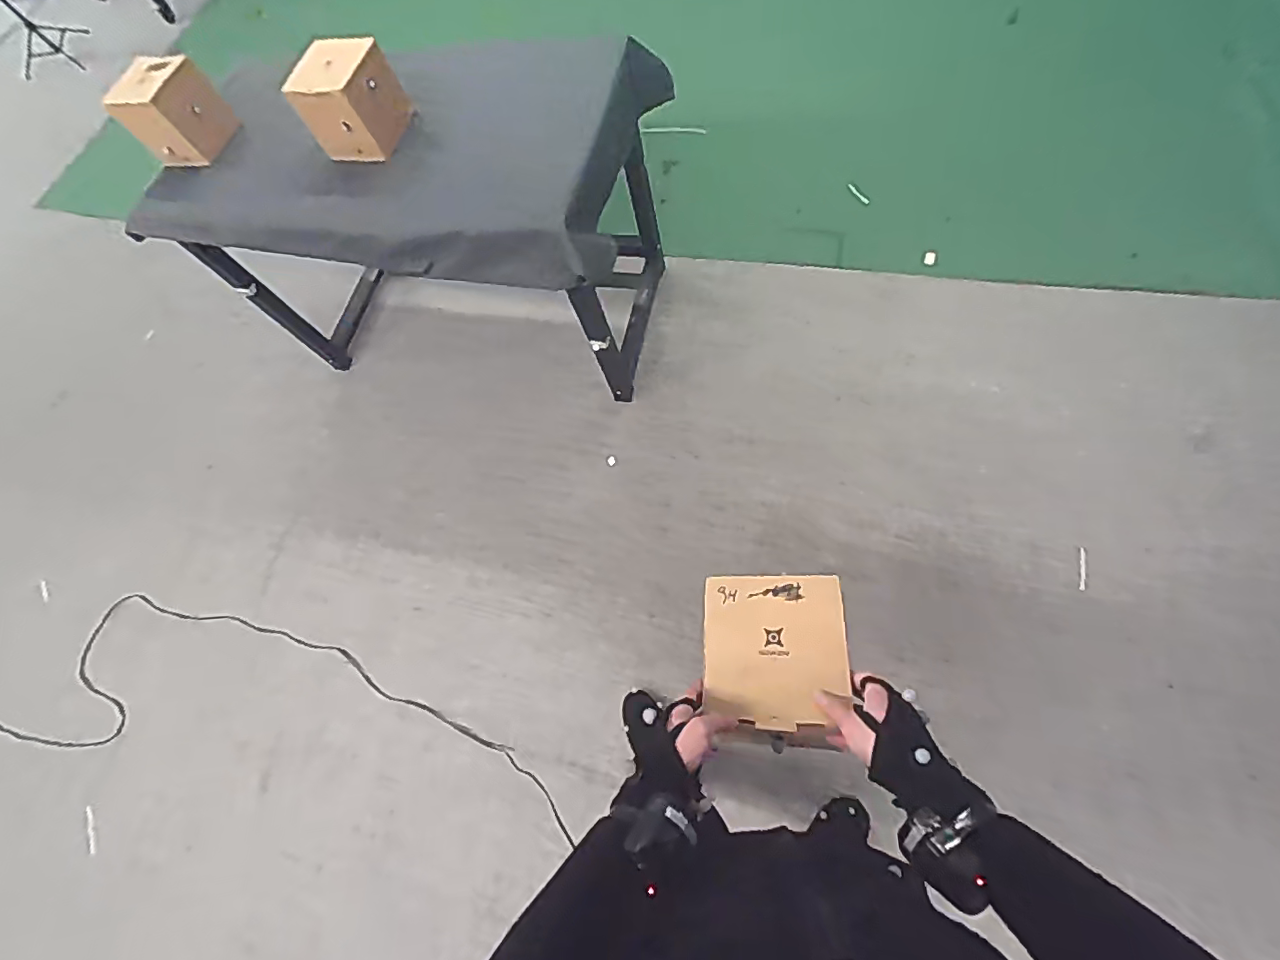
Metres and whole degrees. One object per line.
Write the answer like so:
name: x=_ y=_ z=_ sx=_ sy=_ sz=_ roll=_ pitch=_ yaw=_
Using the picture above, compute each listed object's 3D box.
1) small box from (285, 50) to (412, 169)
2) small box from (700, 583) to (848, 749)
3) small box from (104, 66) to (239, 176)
small box: x=-0.668 y=-0.859 z=1.264 sx=0.168 sy=0.176 sz=0.179 roll=10 pitch=69 yaw=14
small box: x=0.175 y=0.246 z=0.708 sx=0.168 sy=0.176 sz=0.179 roll=-4 pitch=58 yaw=14
small box: x=-1.183 y=-0.917 z=1.385 sx=0.168 sy=0.176 sz=0.179 roll=9 pitch=70 yaw=14
